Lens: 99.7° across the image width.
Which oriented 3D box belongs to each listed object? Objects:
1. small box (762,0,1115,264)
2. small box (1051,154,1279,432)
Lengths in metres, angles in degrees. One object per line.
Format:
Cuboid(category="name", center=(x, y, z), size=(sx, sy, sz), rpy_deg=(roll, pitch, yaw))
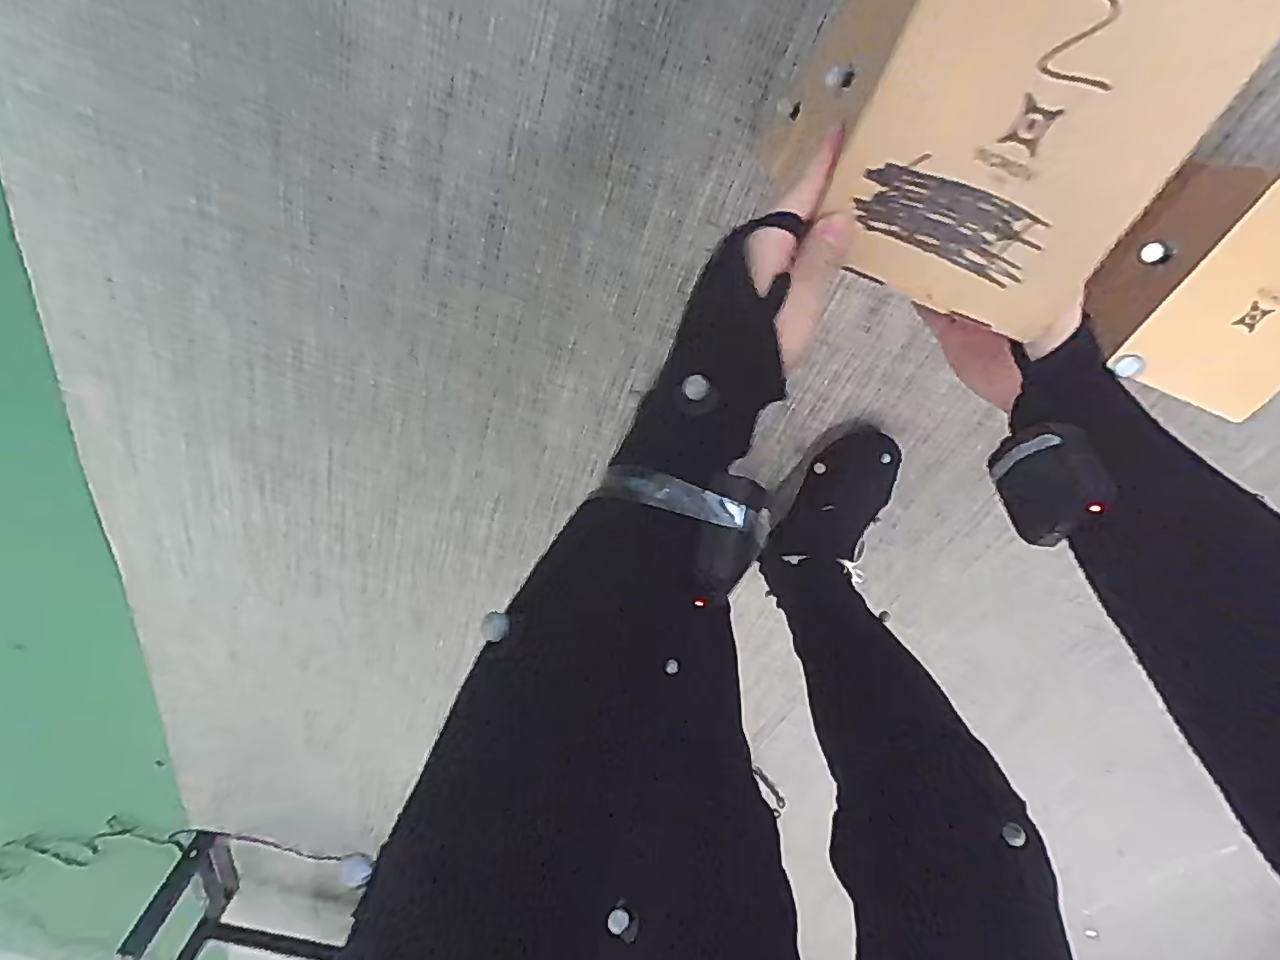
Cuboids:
Cuboid(category="small box", center=(0.219, -0.321, 0.456), size=(0.168, 0.176, 0.179), rpy_deg=(31, 122, -15))
Cuboid(category="small box", center=(0.545, -0.182, 0.516), size=(0.168, 0.176, 0.179), rpy_deg=(21, 124, -7))
